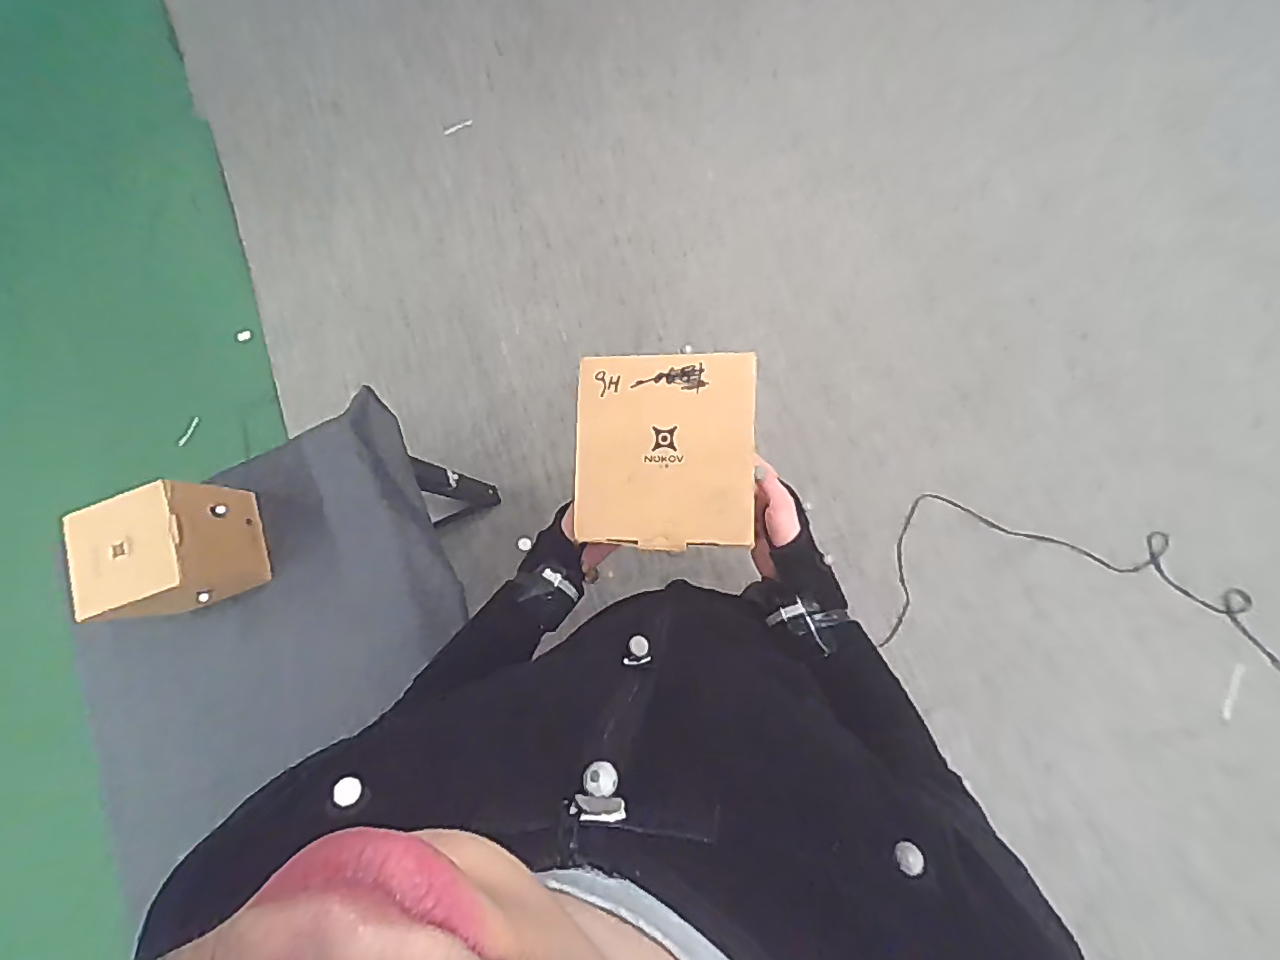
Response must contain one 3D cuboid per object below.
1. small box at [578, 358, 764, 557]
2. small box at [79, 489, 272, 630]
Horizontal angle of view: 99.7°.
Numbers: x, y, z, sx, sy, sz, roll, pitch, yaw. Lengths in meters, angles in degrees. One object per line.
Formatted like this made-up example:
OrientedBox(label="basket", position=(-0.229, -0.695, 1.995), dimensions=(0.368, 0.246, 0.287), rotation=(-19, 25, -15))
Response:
OrientedBox(label="small box", position=(0.041, -0.017, 0.559), dimensions=(0.168, 0.176, 0.179), rotation=(1, 85, 10))
OrientedBox(label="small box", position=(-0.731, 0.130, 0.872), dimensions=(0.179, 0.176, 0.168), rotation=(-21, 76, 5))
